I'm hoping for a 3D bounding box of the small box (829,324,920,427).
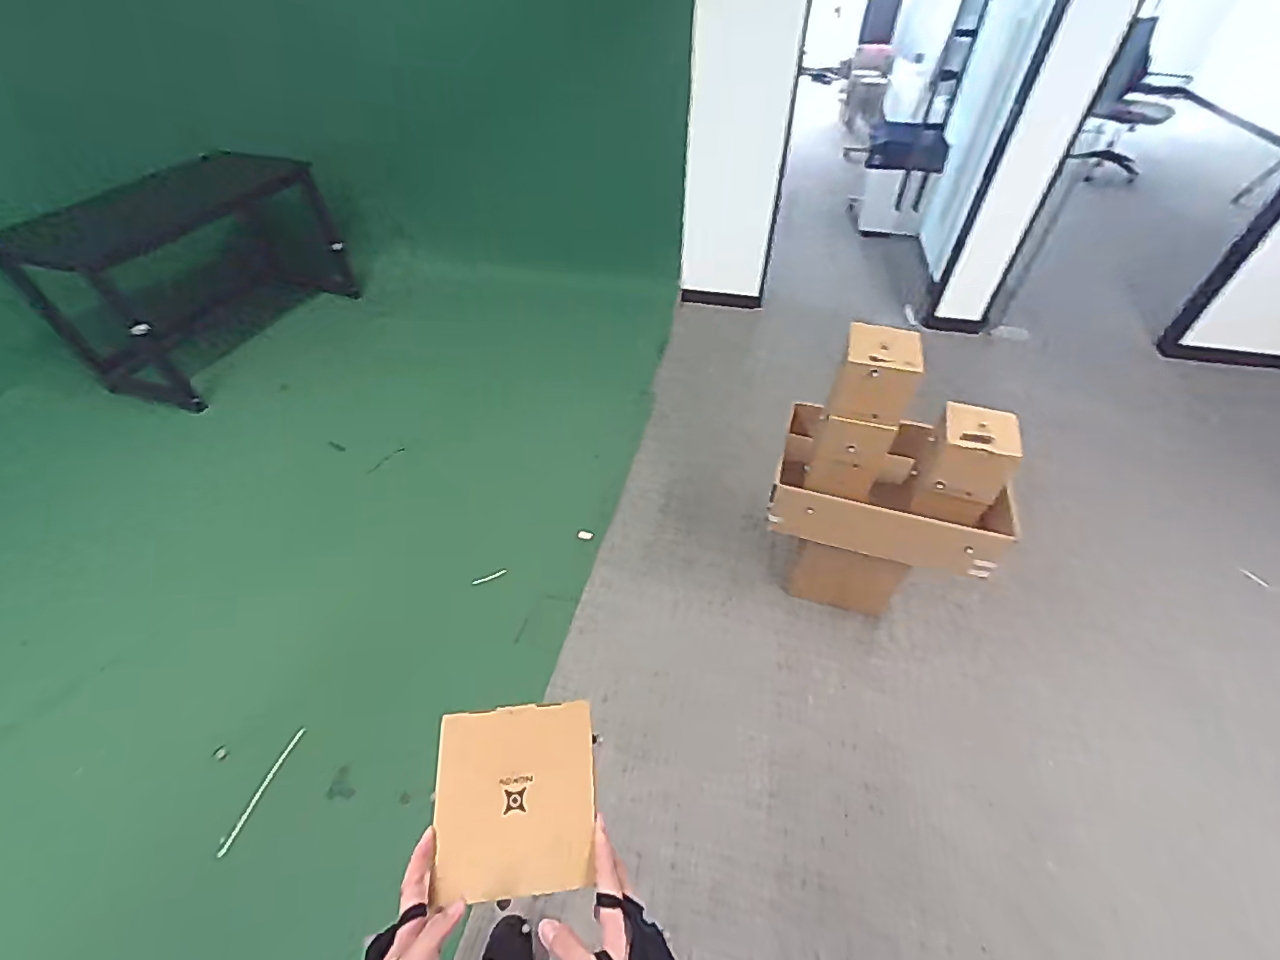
[{"bbox_3d":[0.577,-0.261,1.347,0.168,0.176,0.179,12,48,11],"label":"small box"}]

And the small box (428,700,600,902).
[{"bbox_3d":[-0.134,0.371,0.639,0.168,0.176,0.179,-3,58,-5],"label":"small box"}]

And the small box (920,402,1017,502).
[{"bbox_3d":[0.839,-0.070,1.394,0.168,0.176,0.179,15,48,15],"label":"small box"}]

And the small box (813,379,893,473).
[{"bbox_3d":[0.574,-0.143,1.462,0.168,0.176,0.179,13,49,11],"label":"small box"}]
